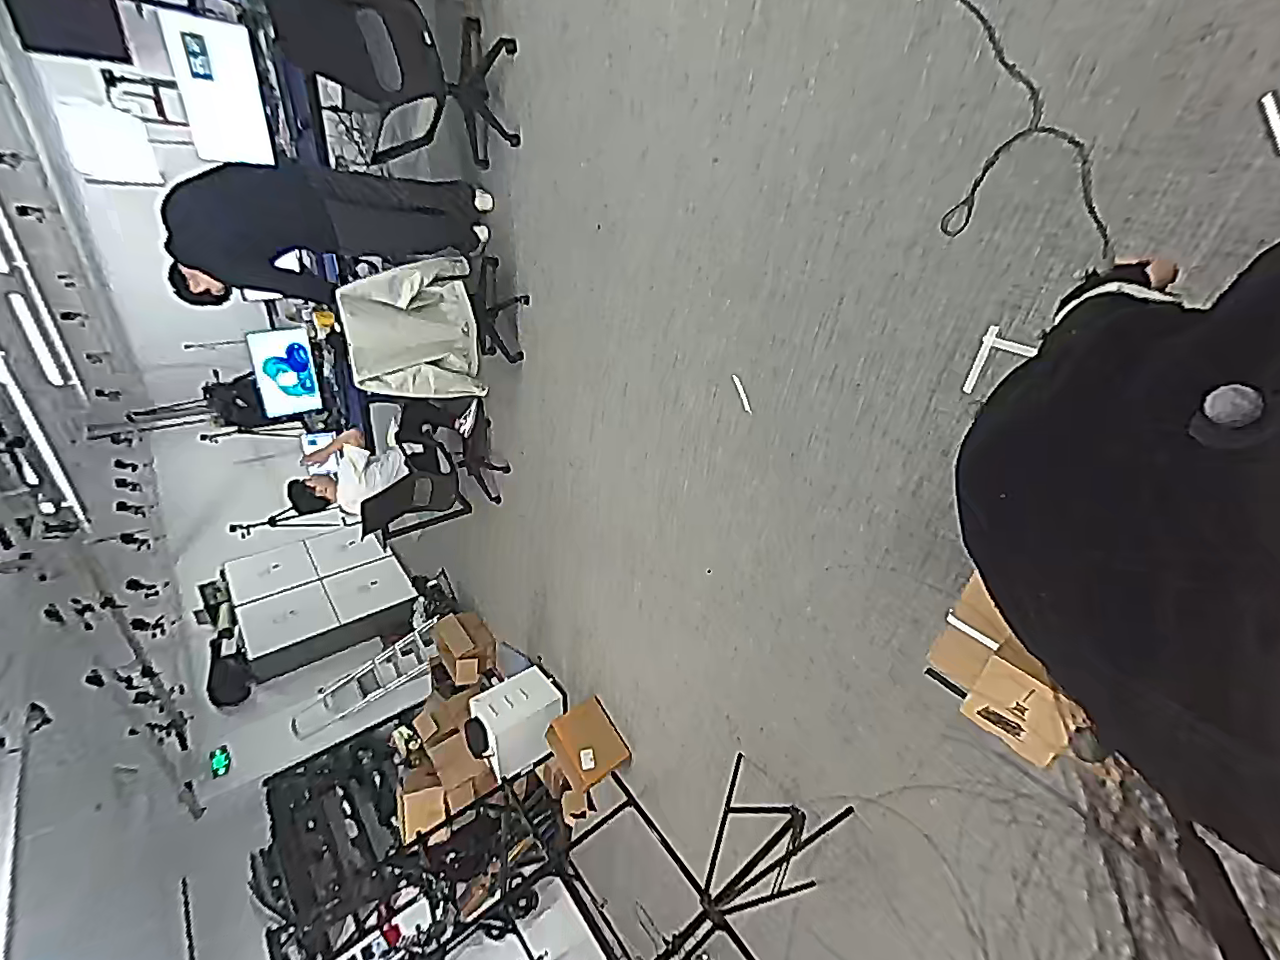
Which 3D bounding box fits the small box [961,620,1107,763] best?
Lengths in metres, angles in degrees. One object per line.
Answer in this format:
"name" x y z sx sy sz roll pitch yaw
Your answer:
"small box" 0.802 0.422 1.101 0.168 0.176 0.179 35 130 39
